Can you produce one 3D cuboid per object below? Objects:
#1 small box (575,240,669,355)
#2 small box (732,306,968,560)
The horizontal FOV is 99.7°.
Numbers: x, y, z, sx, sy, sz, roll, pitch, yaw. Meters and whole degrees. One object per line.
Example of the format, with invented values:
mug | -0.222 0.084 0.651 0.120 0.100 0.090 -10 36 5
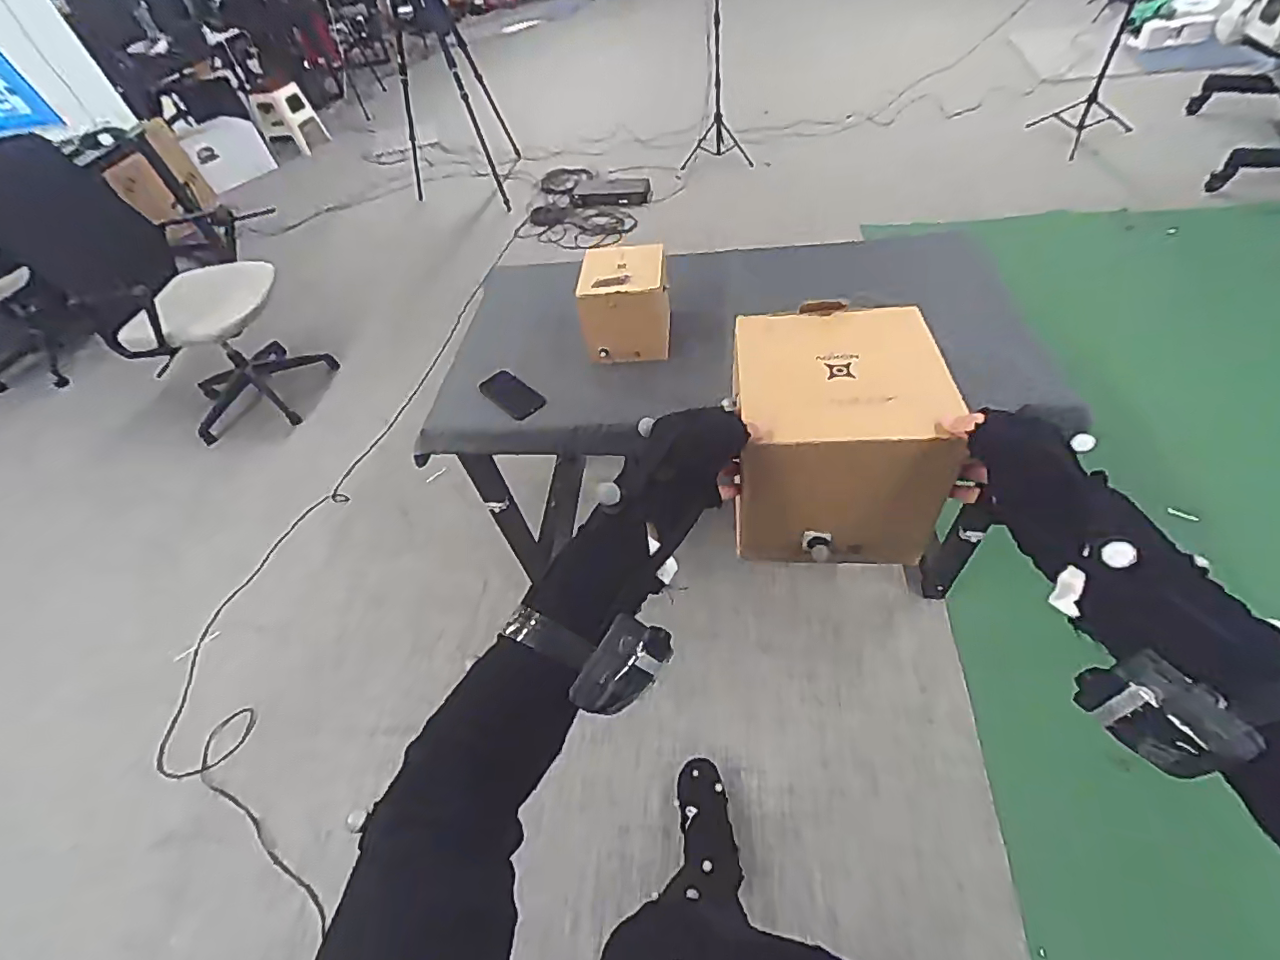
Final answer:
small box | -0.028 -0.377 1.138 0.168 0.176 0.179 -1 50 7
small box | 0.174 -0.044 0.517 0.168 0.176 0.179 -1 50 8
